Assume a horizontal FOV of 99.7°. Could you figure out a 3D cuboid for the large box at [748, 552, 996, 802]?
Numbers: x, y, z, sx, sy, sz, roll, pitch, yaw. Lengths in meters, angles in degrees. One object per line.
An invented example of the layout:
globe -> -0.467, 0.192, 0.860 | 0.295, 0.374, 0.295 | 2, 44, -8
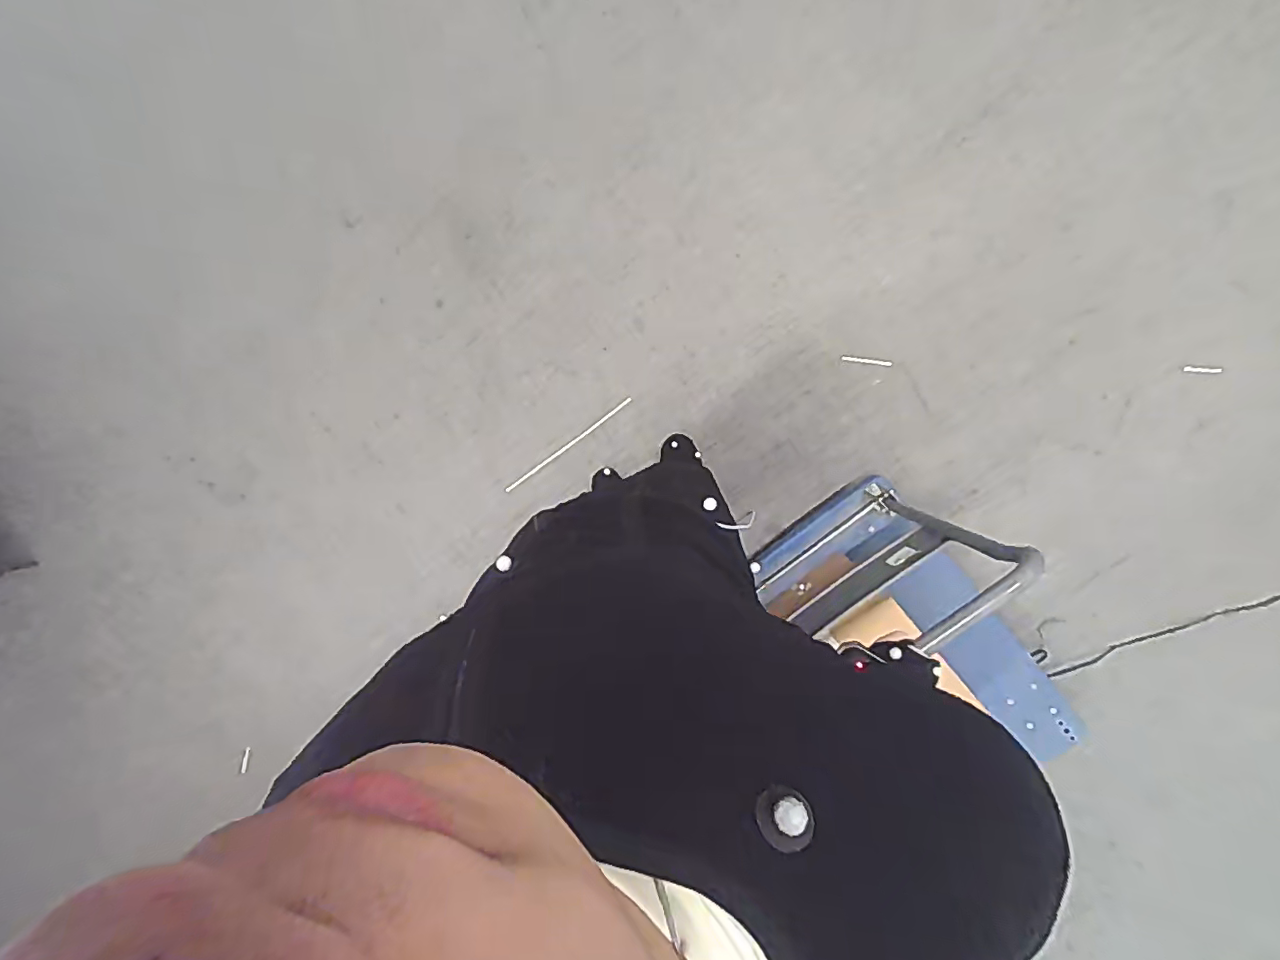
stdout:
large box -> 0.518, 0.442, 1.298 | 0.320, 0.320, 0.408 | -40, 91, 7
